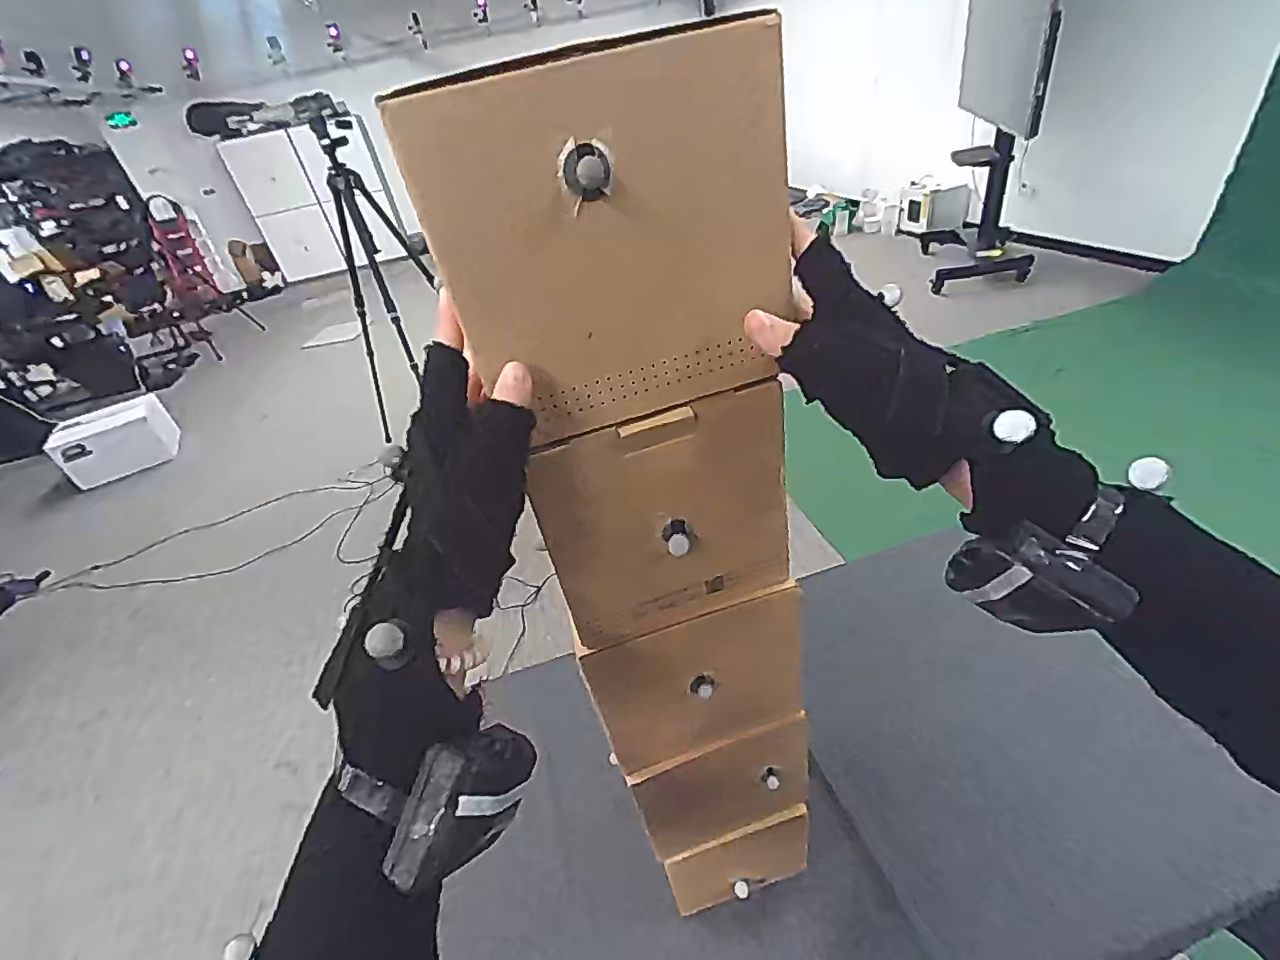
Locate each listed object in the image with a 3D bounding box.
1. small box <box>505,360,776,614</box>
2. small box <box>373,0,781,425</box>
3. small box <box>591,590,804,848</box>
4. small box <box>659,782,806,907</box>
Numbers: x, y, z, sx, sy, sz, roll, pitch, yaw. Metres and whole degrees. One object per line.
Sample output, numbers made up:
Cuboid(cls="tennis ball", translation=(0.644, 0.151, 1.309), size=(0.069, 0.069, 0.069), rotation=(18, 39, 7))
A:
Cuboid(cls="small box", translation=(-0.003, -0.017, 0.428), size=(0.168, 0.176, 0.179), rotation=(-17, 34, -7))
Cuboid(cls="small box", translation=(-0.028, -0.153, 0.334), size=(0.179, 0.176, 0.168), rotation=(-17, 33, -6))
Cuboid(cls="small box", translation=(0.060, 0.258, 0.593), size=(0.179, 0.176, 0.168), rotation=(-17, 34, -7))
Cuboid(cls="small box", translation=(0.093, 0.389, 0.684), size=(0.168, 0.176, 0.179), rotation=(-16, 36, -5))
